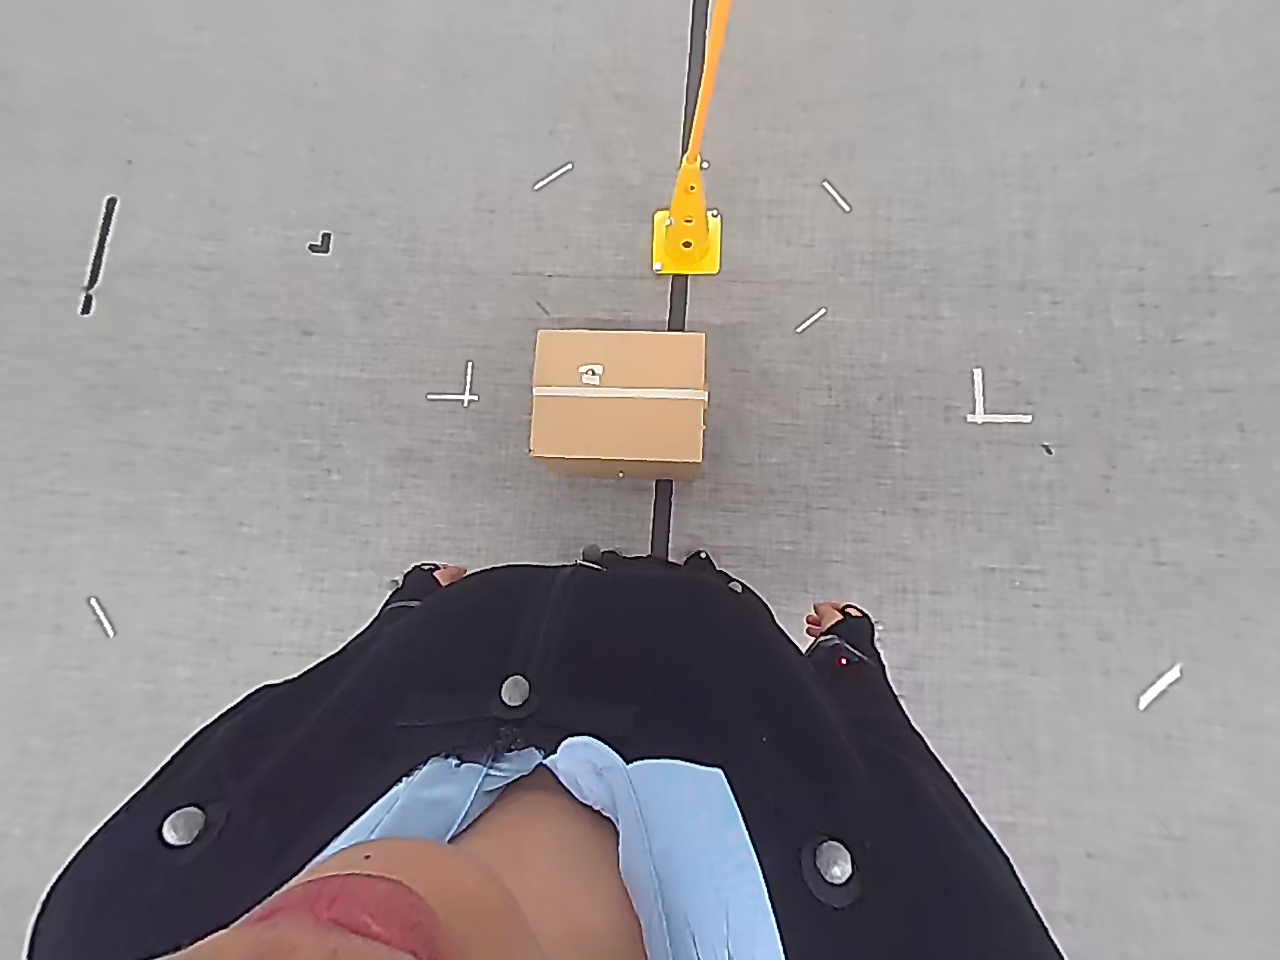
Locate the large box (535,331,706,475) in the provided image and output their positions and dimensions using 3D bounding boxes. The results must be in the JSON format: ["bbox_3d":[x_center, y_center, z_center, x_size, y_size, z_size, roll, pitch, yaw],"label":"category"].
[{"bbox_3d":[-0.032,-0.184,1.419,0.408,0.320,0.320,2,82,5],"label":"large box"}]
